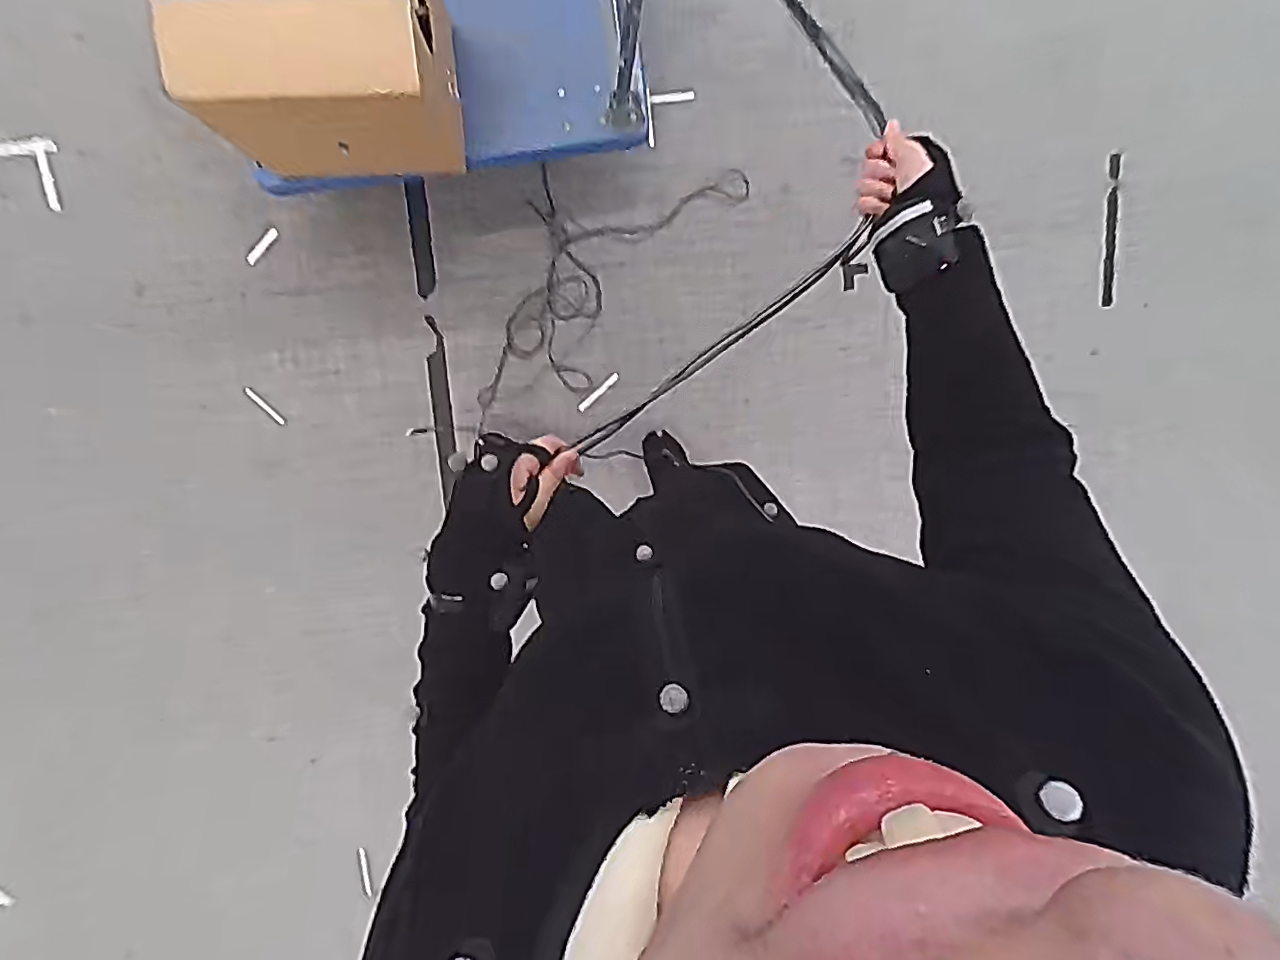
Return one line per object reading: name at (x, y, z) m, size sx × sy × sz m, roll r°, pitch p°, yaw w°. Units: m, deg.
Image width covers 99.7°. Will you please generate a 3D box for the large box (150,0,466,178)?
large box at (-0.578, -0.791, 1.002) m, size 0.408 × 0.320 × 0.320 m, roll -4°, pitch 97°, yaw -3°
